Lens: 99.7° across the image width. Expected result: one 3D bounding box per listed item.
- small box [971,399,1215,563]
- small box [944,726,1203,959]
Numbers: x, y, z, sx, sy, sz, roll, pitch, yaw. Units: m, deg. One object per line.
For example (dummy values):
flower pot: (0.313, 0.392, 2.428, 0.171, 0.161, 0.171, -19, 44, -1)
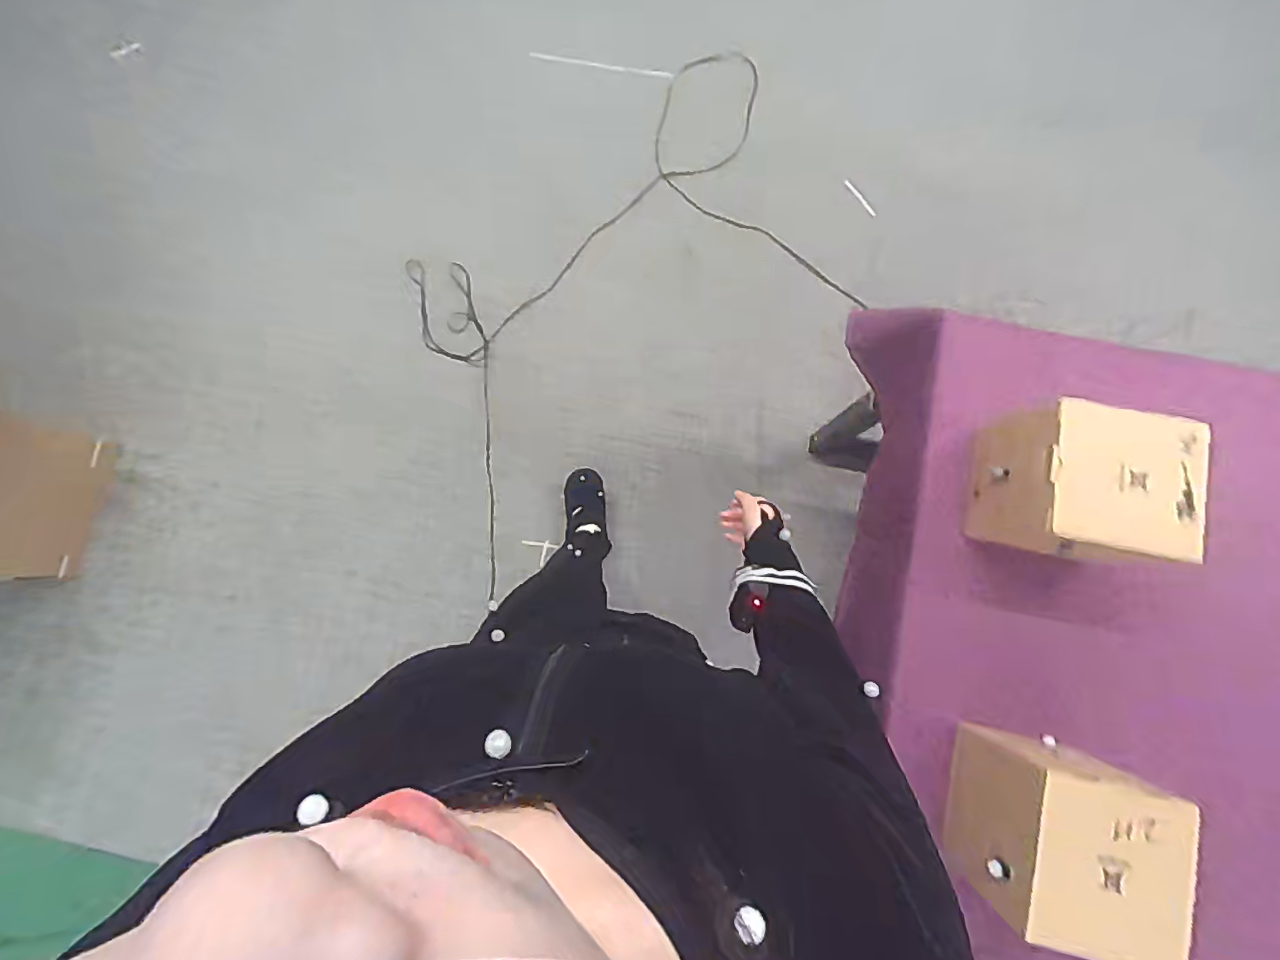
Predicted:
small box: (0.565, 0.010, 0.698, 0.179, 0.176, 0.168, 12, 83, 3)
small box: (0.492, 0.423, 0.641, 0.168, 0.176, 0.179, 14, 82, 3)
